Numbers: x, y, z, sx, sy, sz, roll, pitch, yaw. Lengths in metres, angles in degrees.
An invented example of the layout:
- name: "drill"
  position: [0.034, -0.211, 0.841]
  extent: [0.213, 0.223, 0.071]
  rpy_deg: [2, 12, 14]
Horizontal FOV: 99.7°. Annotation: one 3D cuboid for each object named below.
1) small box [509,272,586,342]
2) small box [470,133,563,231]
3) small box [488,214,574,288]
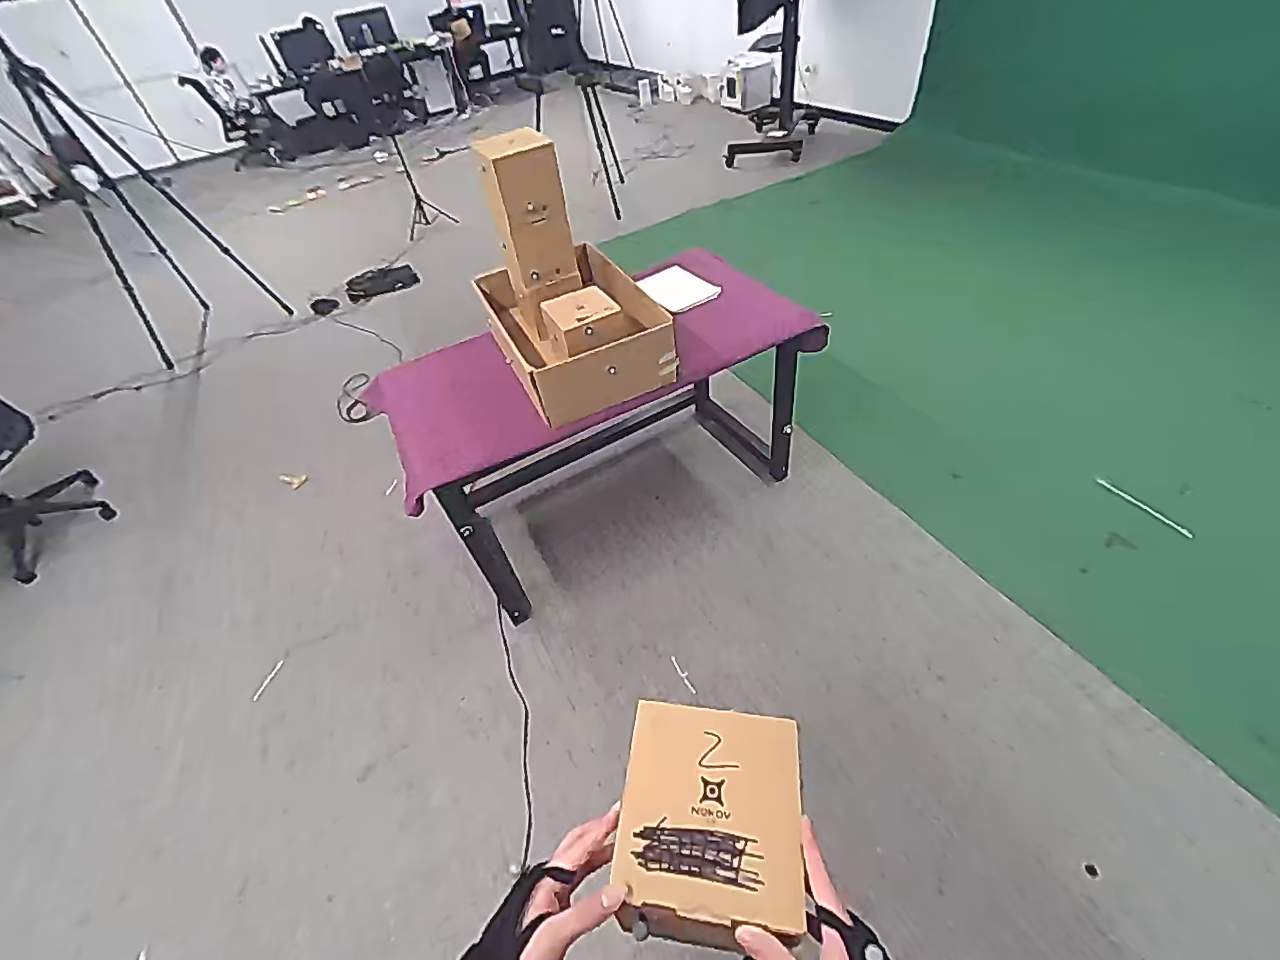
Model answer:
- name: "small box"
  position: [-0.280, -0.548, 1.639]
  extent: [0.168, 0.176, 0.179]
  rpy_deg: [-26, 50, -15]
- name: "small box"
  position: [-0.317, -0.774, 1.406]
  extent: [0.168, 0.176, 0.179]
  rpy_deg: [-26, 50, -15]
- name: "small box"
  position: [-0.301, -0.664, 1.524]
  extent: [0.168, 0.176, 0.179]
  rpy_deg: [-26, 49, -16]
